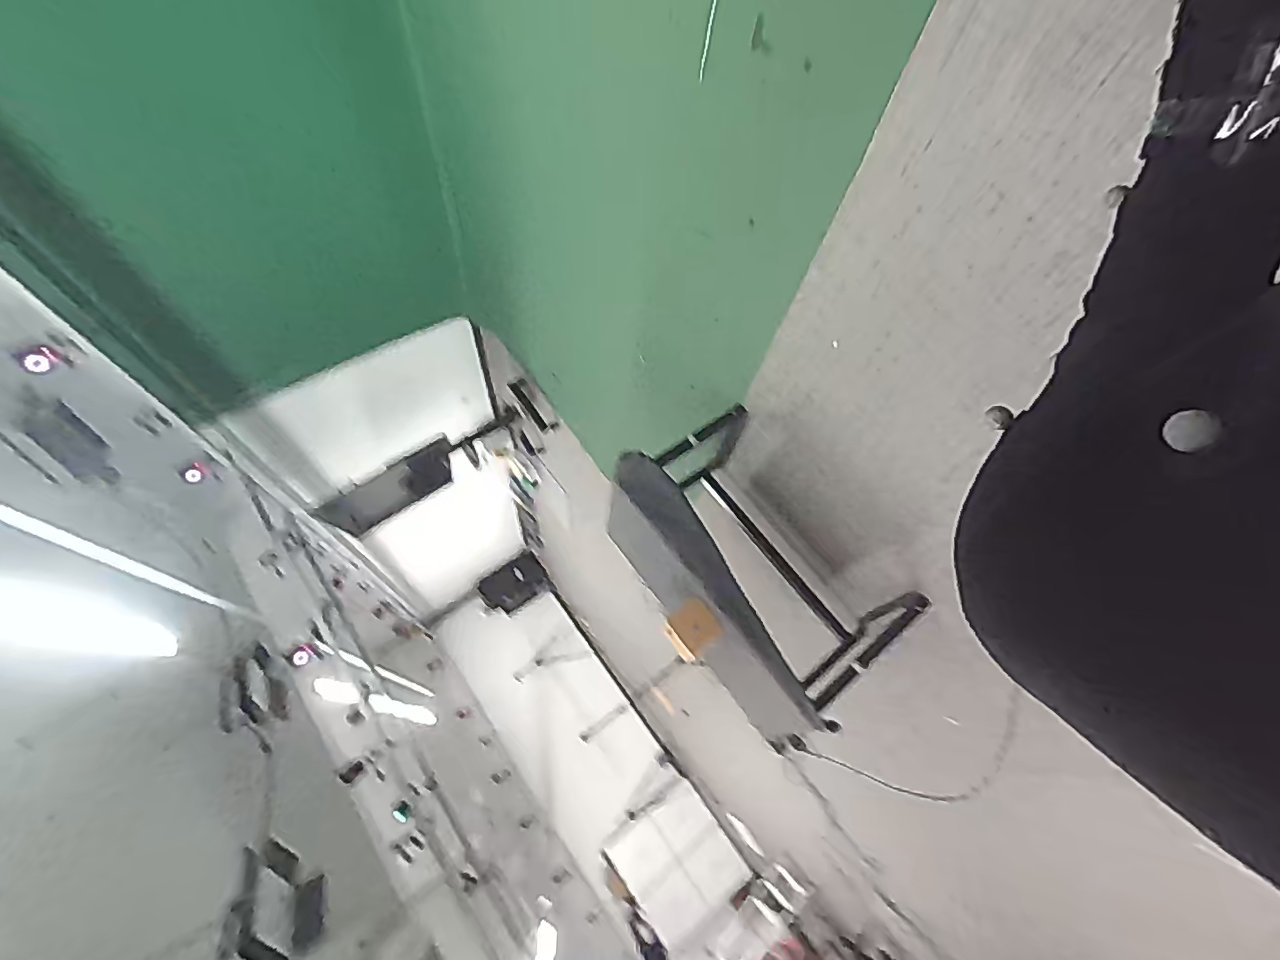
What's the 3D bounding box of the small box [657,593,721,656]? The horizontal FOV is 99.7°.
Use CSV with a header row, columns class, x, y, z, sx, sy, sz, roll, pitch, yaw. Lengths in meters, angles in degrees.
class,x,y,z,sx,sy,sz,roll,pitch,yaw
small box,0.197,0.577,2.180,0.179,0.176,0.168,49,159,17
